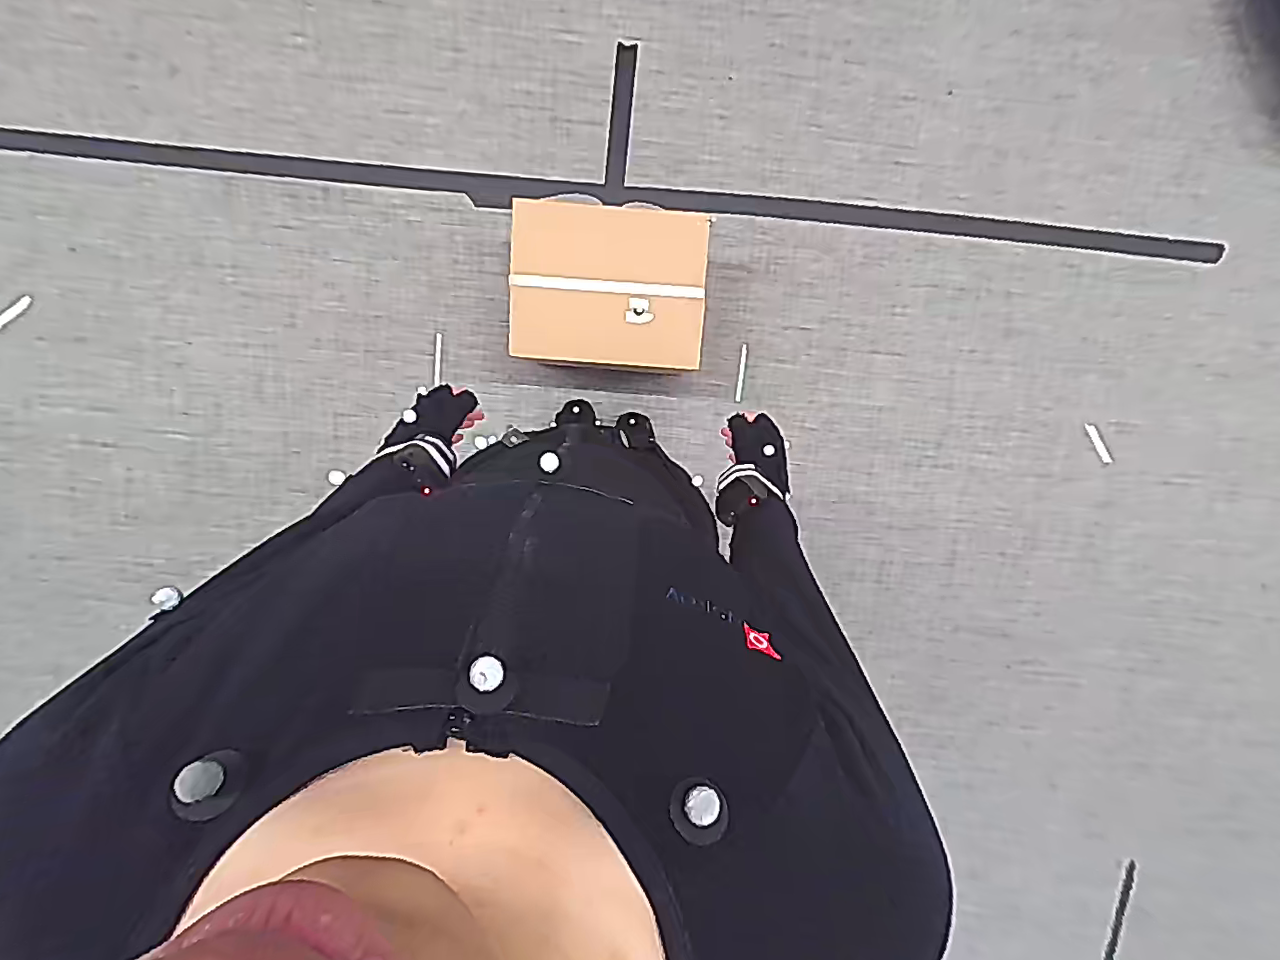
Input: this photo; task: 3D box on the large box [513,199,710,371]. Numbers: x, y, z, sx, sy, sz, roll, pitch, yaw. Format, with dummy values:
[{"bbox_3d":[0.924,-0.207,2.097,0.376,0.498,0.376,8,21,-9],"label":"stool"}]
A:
[{"bbox_3d":[-0.069,-0.427,1.265,0.408,0.320,0.320,3,100,-3],"label":"large box"}]
